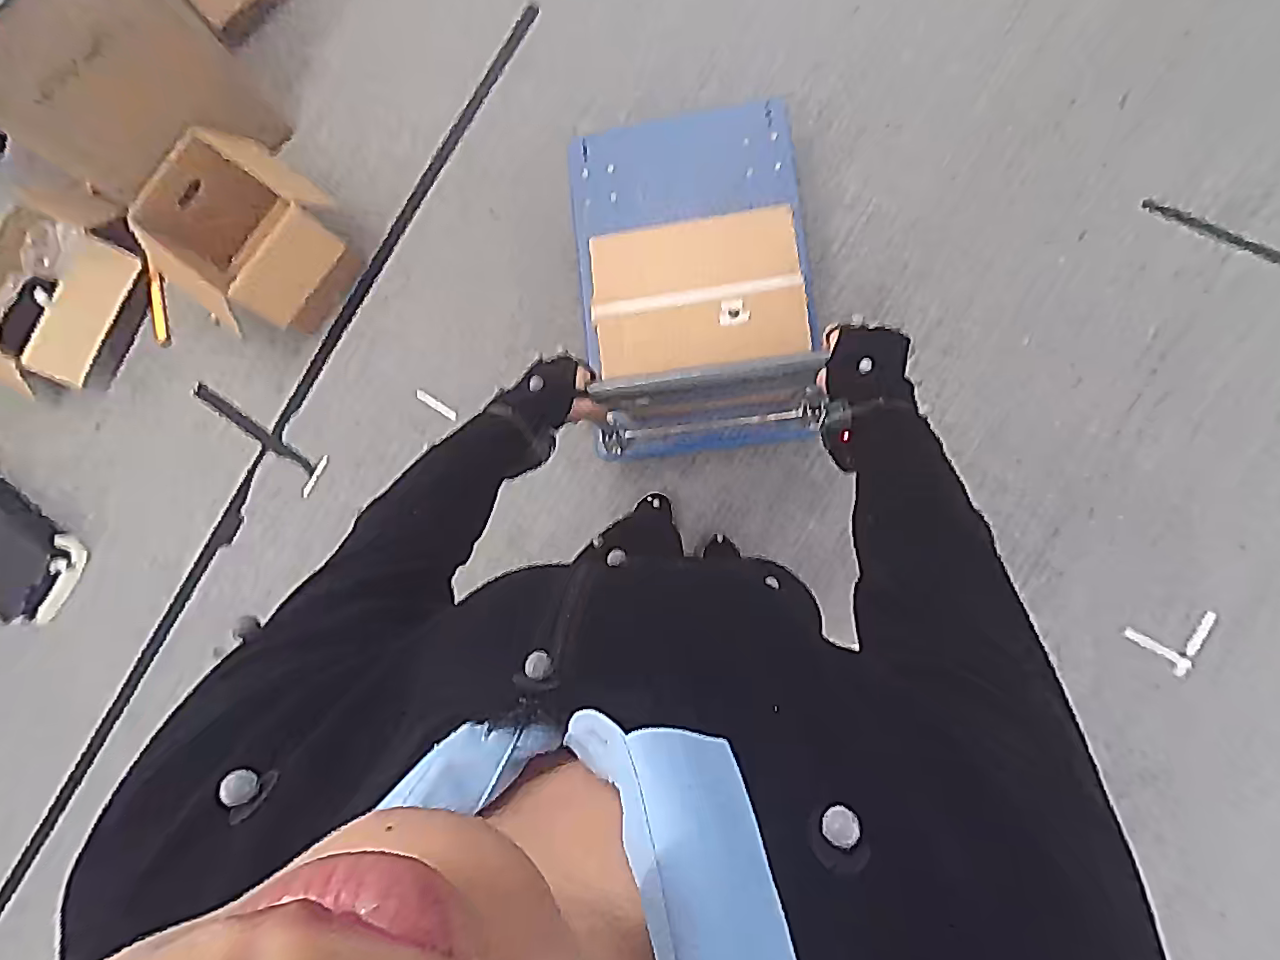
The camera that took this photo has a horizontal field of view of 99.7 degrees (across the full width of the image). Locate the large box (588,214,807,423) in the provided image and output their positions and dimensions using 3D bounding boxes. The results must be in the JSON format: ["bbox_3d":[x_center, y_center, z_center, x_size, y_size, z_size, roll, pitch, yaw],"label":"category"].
[{"bbox_3d":[0.120,-0.330,1.205,0.408,0.320,0.320,-7,85,6],"label":"large box"}]
